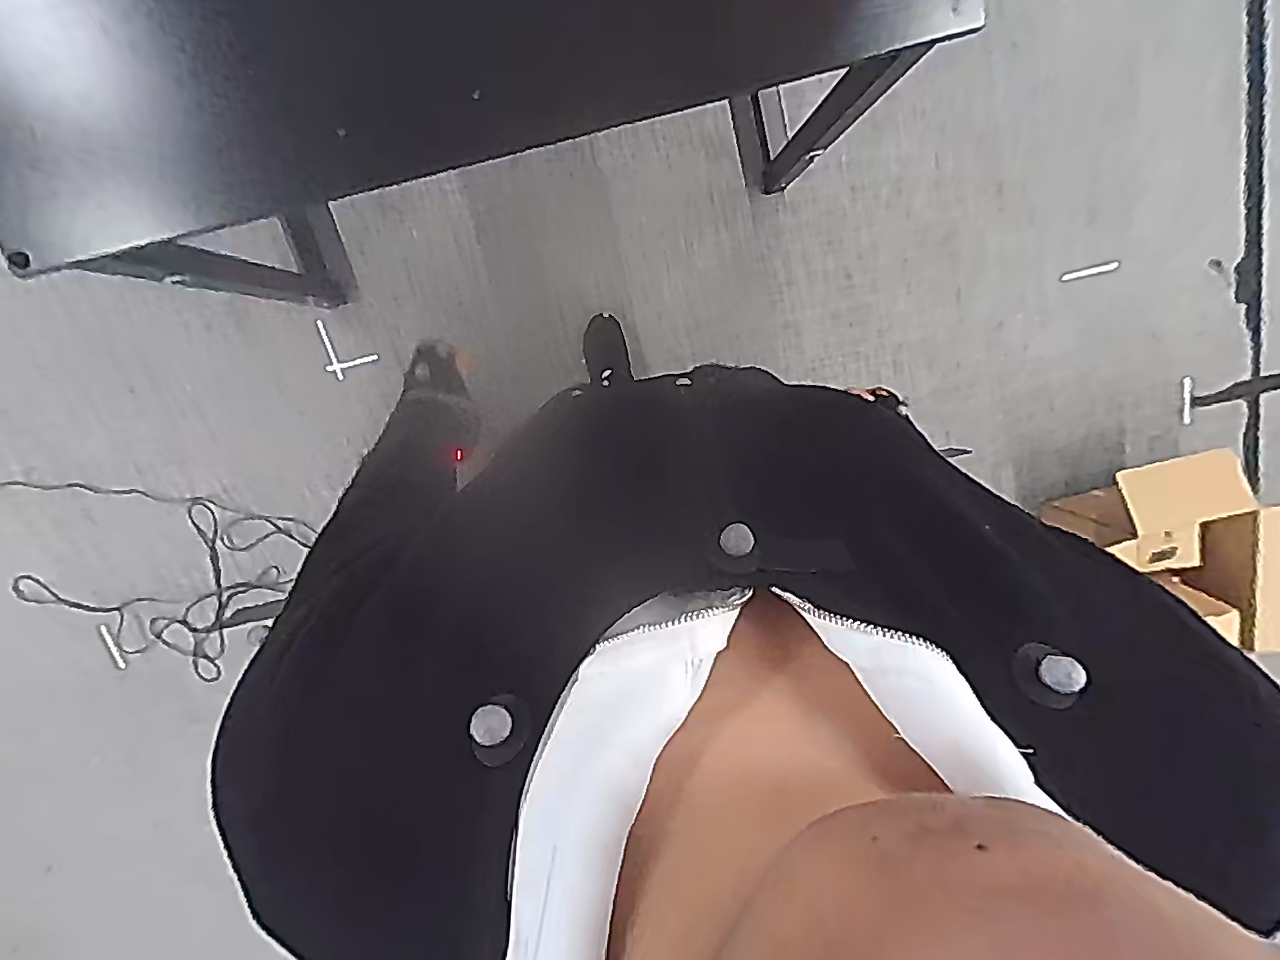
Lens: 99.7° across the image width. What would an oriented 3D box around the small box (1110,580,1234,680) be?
[{"bbox_3d":[1.367,0.377,1.401,0.168,0.176,0.179,-17,107,0],"label":"small box"}]
